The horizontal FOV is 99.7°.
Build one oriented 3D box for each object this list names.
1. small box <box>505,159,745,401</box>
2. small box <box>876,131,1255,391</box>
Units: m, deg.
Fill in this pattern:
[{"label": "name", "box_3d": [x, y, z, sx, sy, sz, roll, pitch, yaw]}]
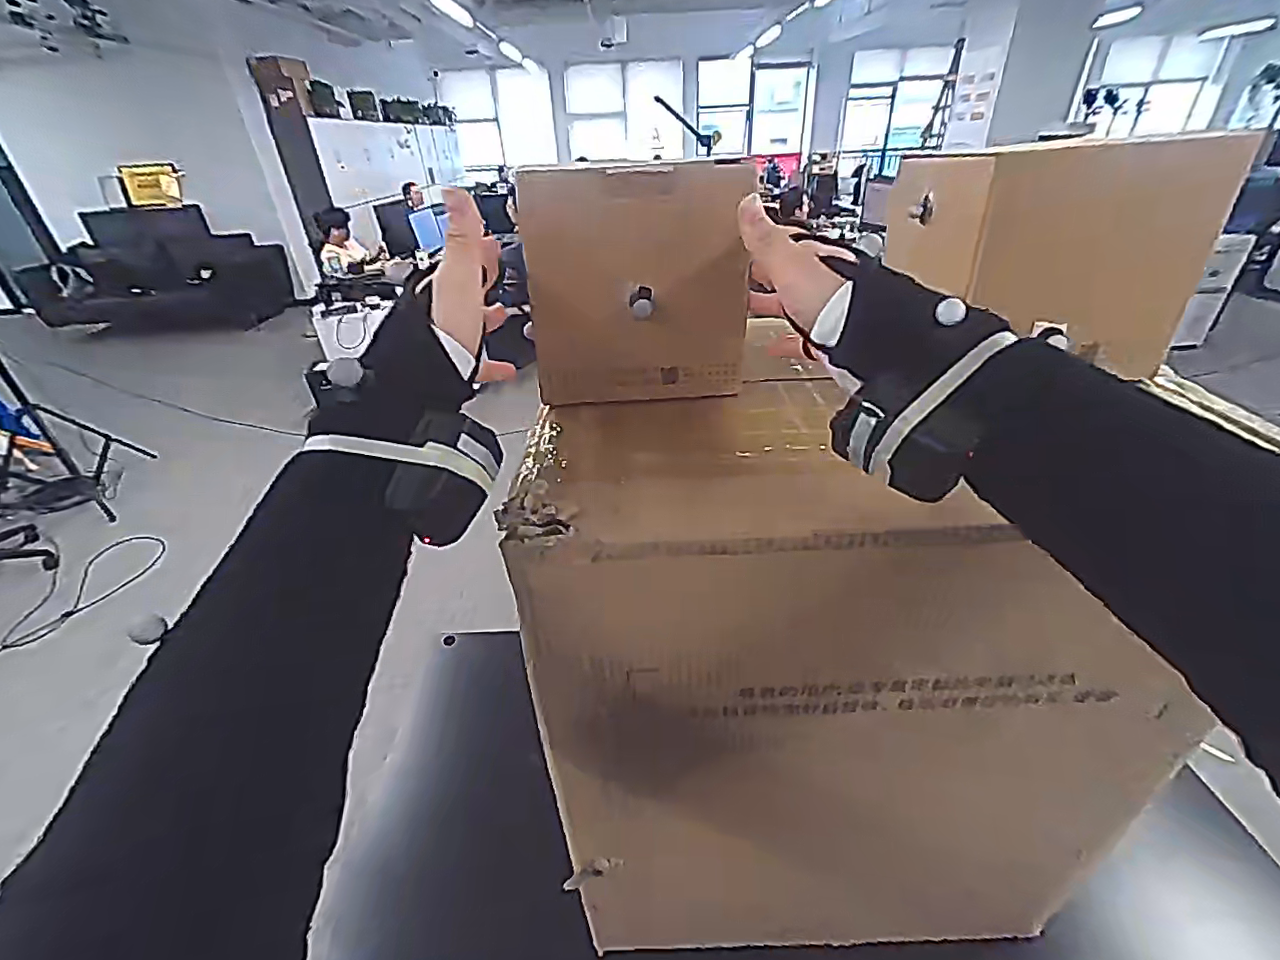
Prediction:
[{"label": "small box", "box_3d": [-0.011, -0.174, 0.470, 0.168, 0.176, 0.179, -4, 32, -3]}, {"label": "small box", "box_3d": [0.317, -0.186, 0.459, 0.168, 0.176, 0.179, -4, 31, 4]}]
